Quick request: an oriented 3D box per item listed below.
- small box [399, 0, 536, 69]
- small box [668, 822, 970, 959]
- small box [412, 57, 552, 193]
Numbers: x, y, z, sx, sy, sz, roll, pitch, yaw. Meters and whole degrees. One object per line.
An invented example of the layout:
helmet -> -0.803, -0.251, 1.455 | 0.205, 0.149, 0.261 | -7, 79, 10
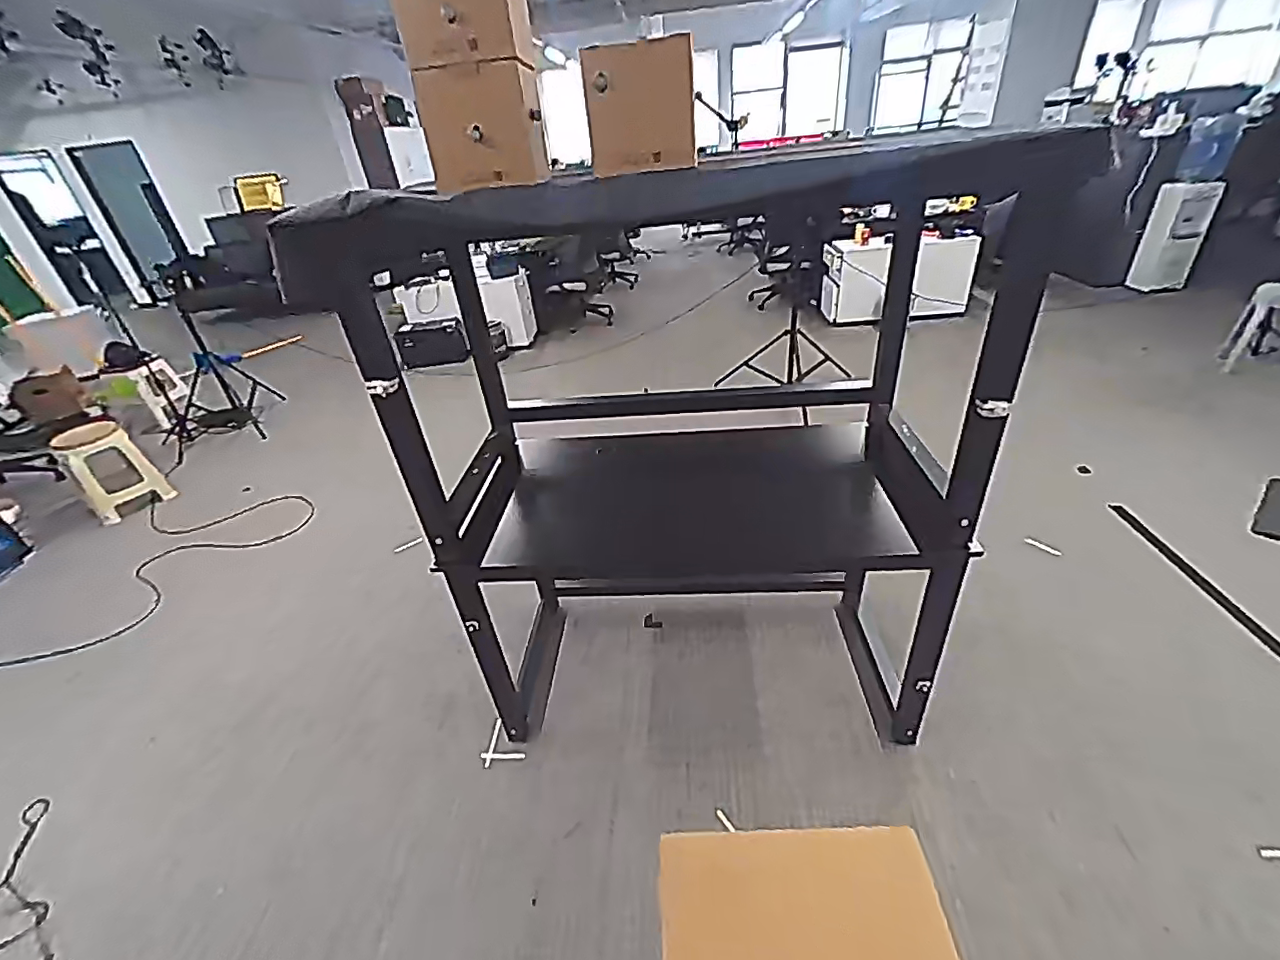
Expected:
small box -> -0.261, -0.724, 0.818 | 0.168, 0.176, 0.179 | -5, 31, 4
small box -> 0.101, 0.338, 0.326 | 0.168, 0.176, 0.179 | -3, 36, 3
small box -> -0.249, -0.582, 0.902 | 0.168, 0.176, 0.179 | -4, 32, 2
